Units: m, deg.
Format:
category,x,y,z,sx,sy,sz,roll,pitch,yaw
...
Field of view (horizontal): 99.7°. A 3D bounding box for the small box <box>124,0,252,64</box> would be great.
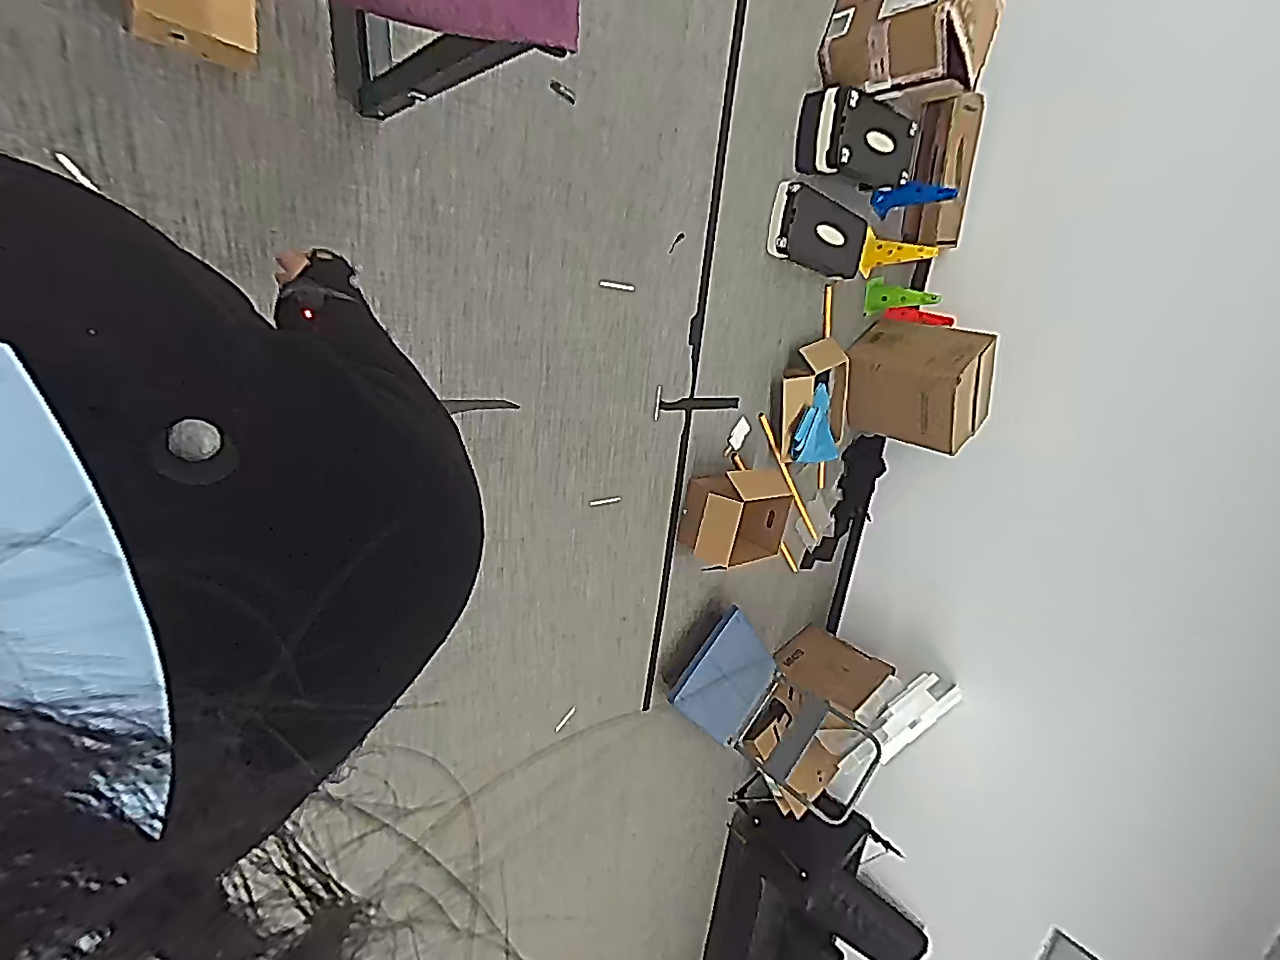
category,x,y,z,sx,sy,sz,roll,pitch,yaw
small box,-0.793,-0.873,0.946,0.168,0.176,0.179,-6,111,-43
